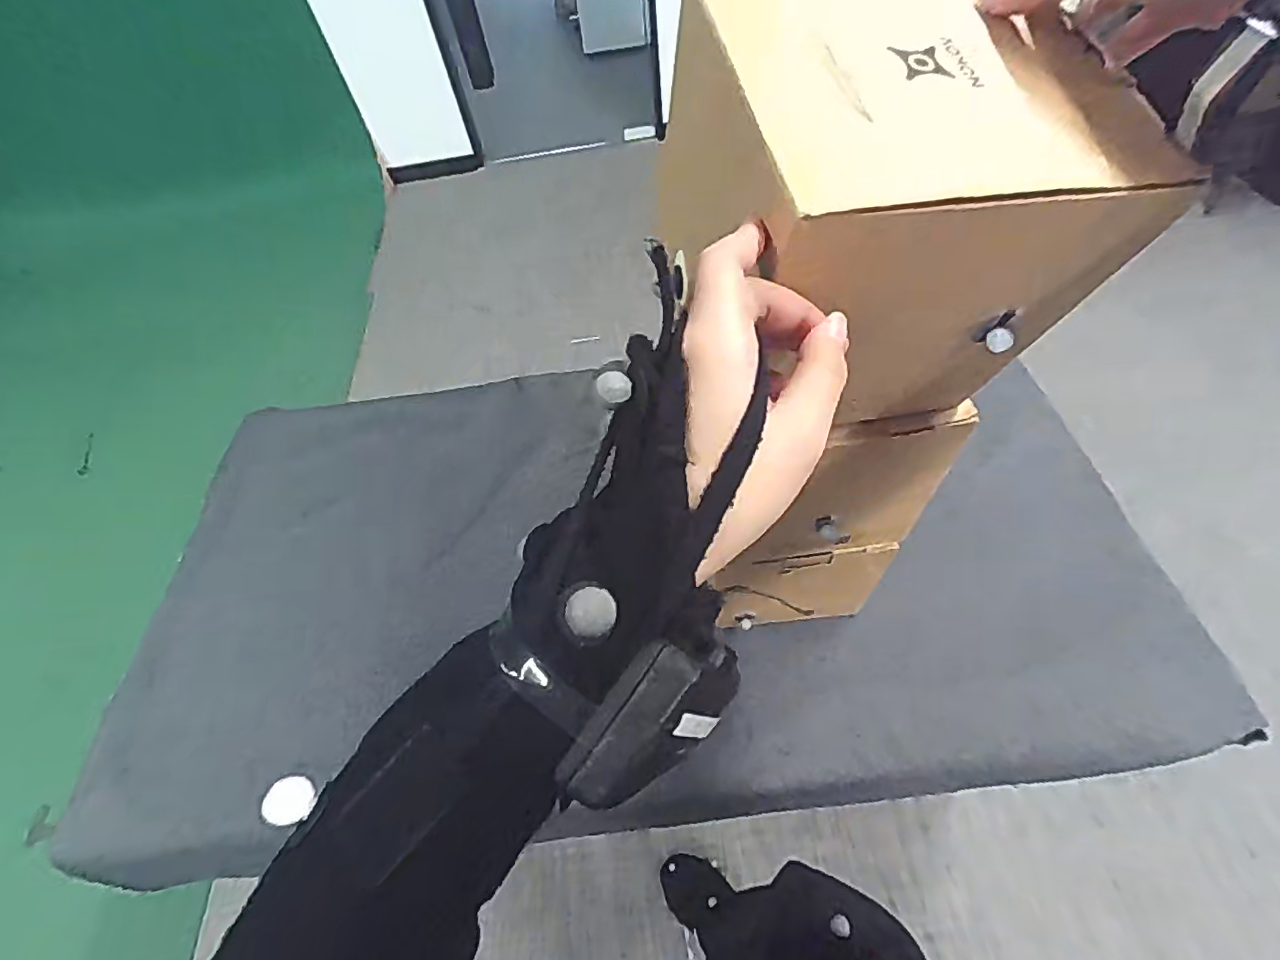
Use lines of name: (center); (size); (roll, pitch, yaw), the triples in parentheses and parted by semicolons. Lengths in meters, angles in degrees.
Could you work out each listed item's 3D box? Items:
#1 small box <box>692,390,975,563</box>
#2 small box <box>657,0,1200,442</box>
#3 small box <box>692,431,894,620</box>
small box: (0.137, -0.050, 0.465); (0.168, 0.176, 0.179); (-9, 55, 1)
small box: (0.114, -0.139, 0.302); (0.179, 0.176, 0.168); (-10, 66, -7)
small box: (0.151, 0.045, 0.599); (0.168, 0.176, 0.179); (-7, 54, 2)
